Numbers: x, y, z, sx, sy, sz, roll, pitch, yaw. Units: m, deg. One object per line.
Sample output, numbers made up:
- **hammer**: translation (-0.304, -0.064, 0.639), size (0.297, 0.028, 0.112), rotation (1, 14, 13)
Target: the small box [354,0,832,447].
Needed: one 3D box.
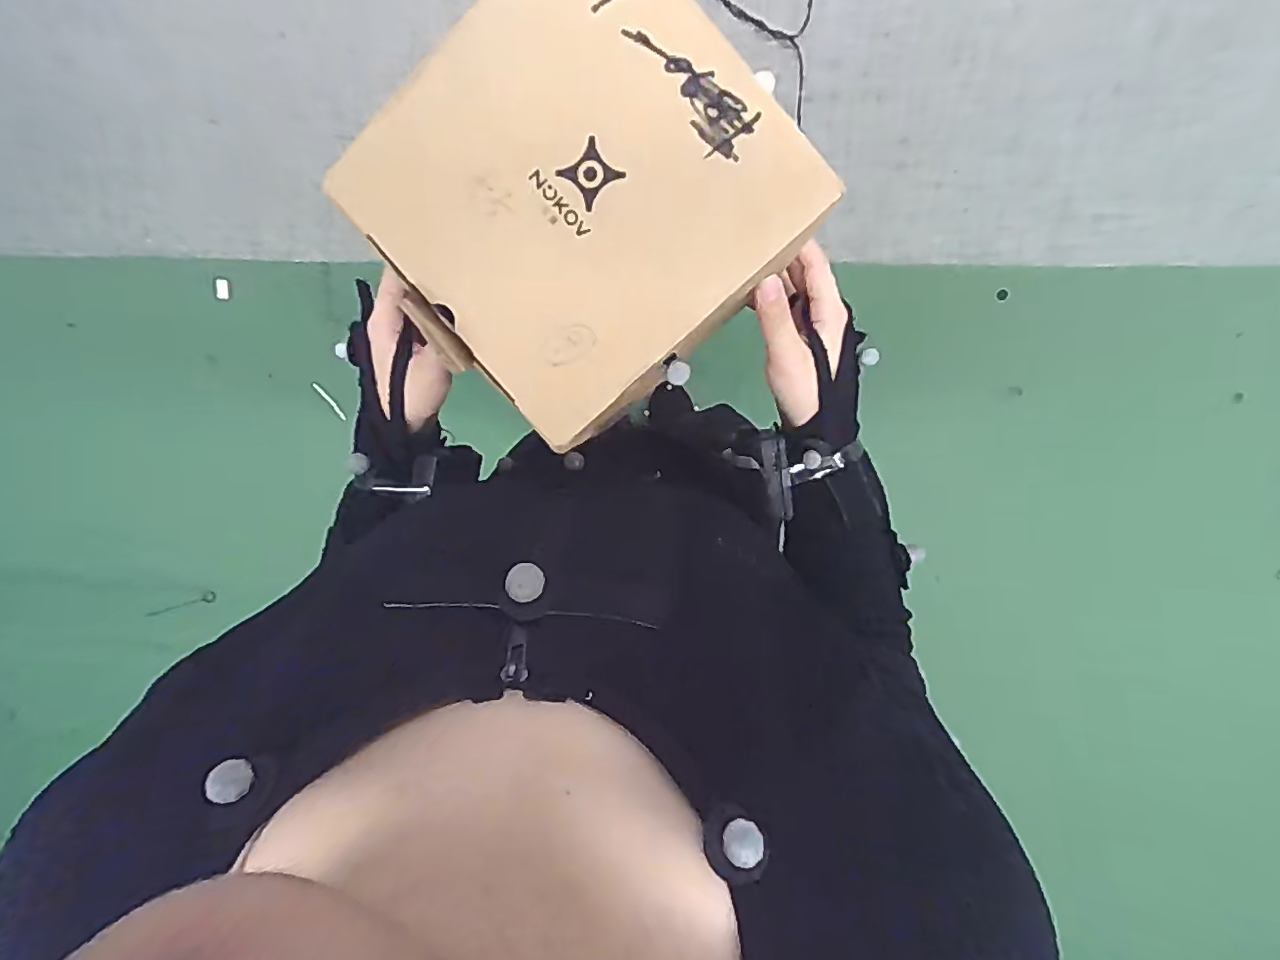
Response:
- **small box**: translation (-0.019, -0.141, 0.335), size (0.179, 0.176, 0.168), rotation (-41, 94, 9)
